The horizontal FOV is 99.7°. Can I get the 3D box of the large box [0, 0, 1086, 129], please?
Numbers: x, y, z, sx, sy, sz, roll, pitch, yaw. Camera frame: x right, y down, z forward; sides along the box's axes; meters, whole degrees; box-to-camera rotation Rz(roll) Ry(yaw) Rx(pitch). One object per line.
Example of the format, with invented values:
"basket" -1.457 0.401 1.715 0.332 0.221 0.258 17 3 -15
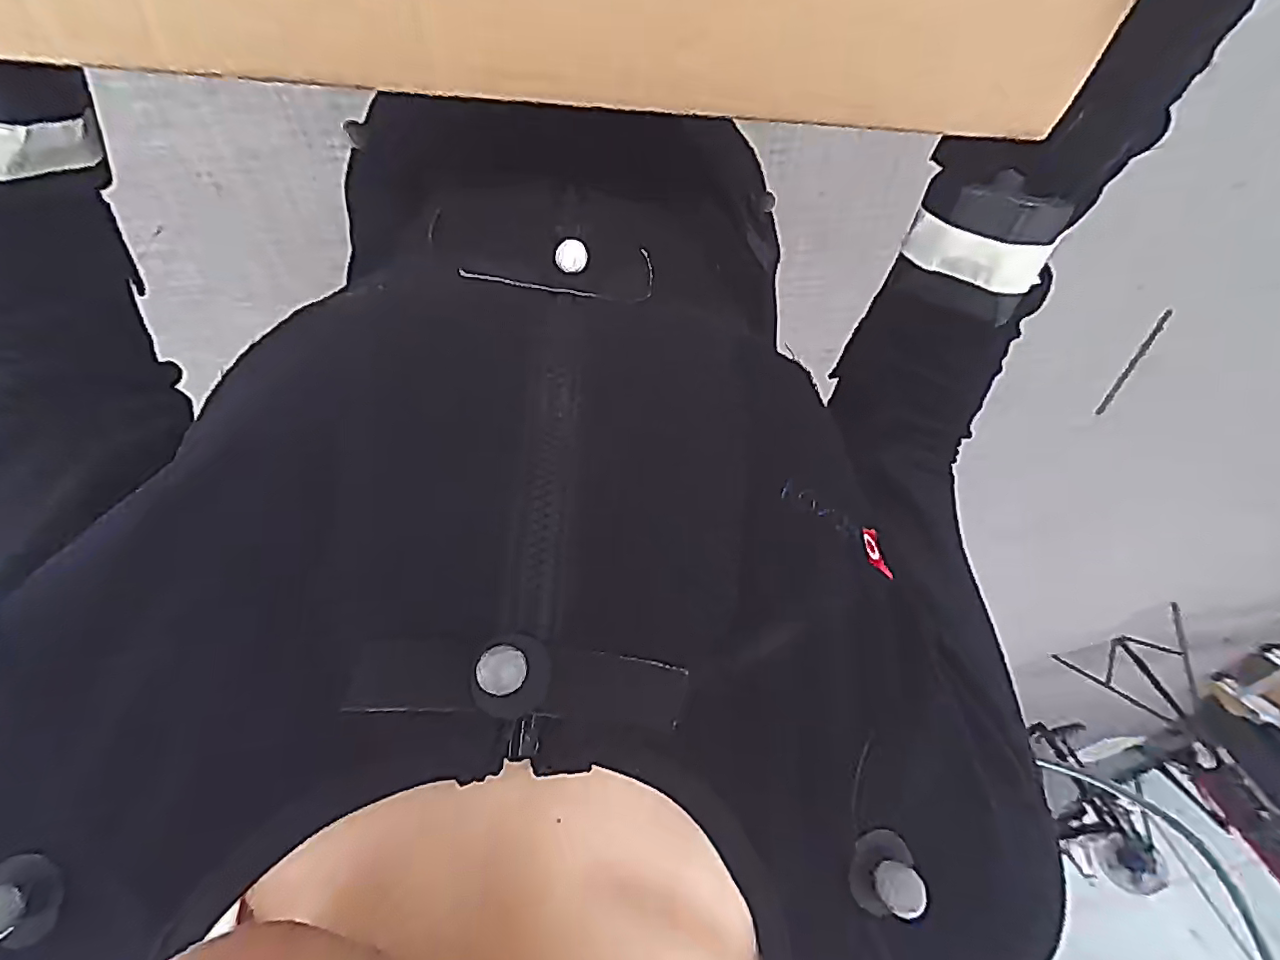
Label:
"large box" -0.034 -0.357 0.171 0.408 0.320 0.320 0 143 -7
